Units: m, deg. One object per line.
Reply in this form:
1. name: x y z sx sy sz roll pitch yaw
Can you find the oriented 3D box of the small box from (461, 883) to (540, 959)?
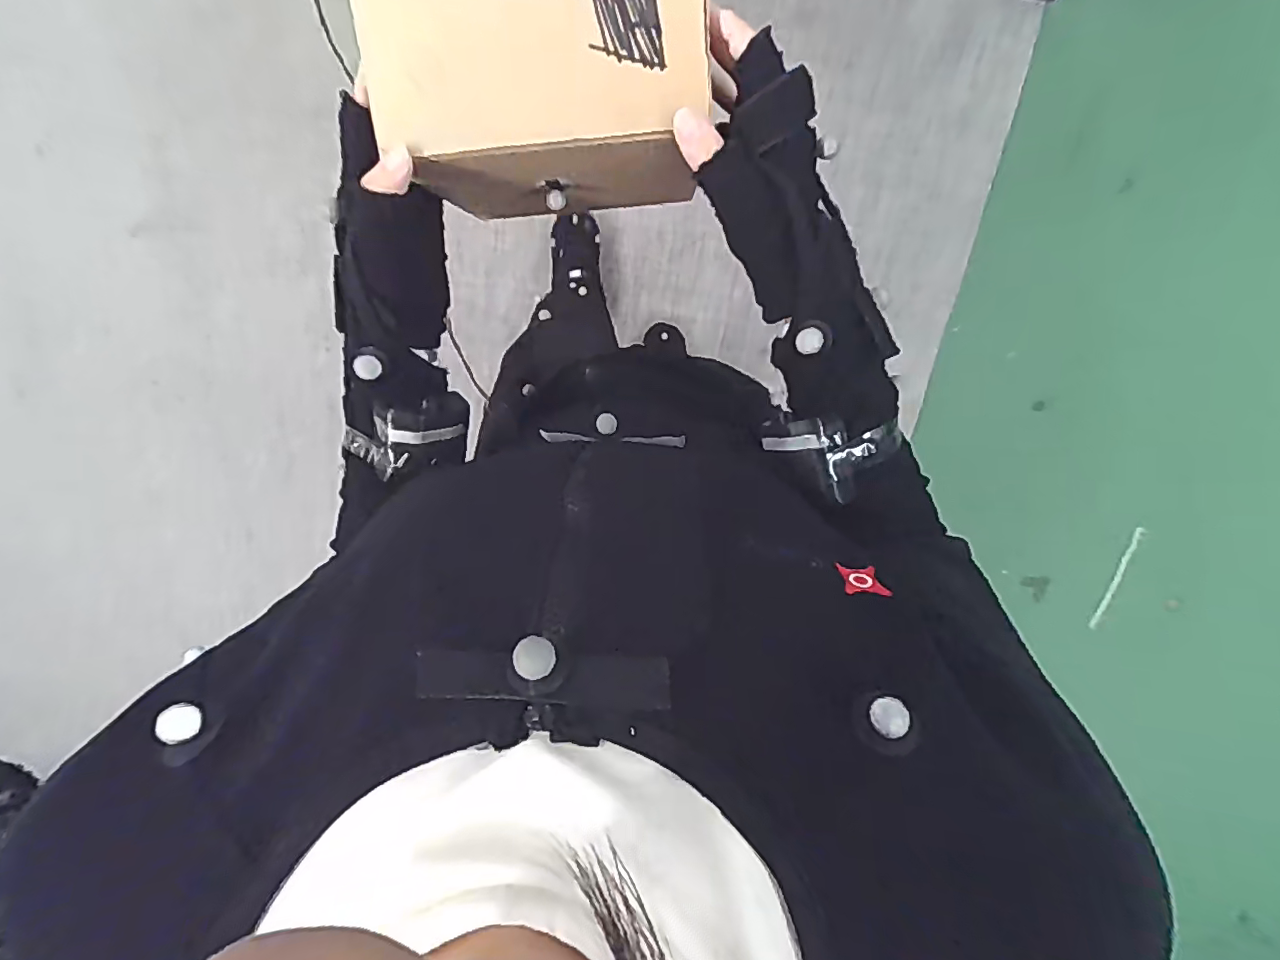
1. small box: -0.375 1.253 1.486 0.179 0.176 0.168 4 107 2
